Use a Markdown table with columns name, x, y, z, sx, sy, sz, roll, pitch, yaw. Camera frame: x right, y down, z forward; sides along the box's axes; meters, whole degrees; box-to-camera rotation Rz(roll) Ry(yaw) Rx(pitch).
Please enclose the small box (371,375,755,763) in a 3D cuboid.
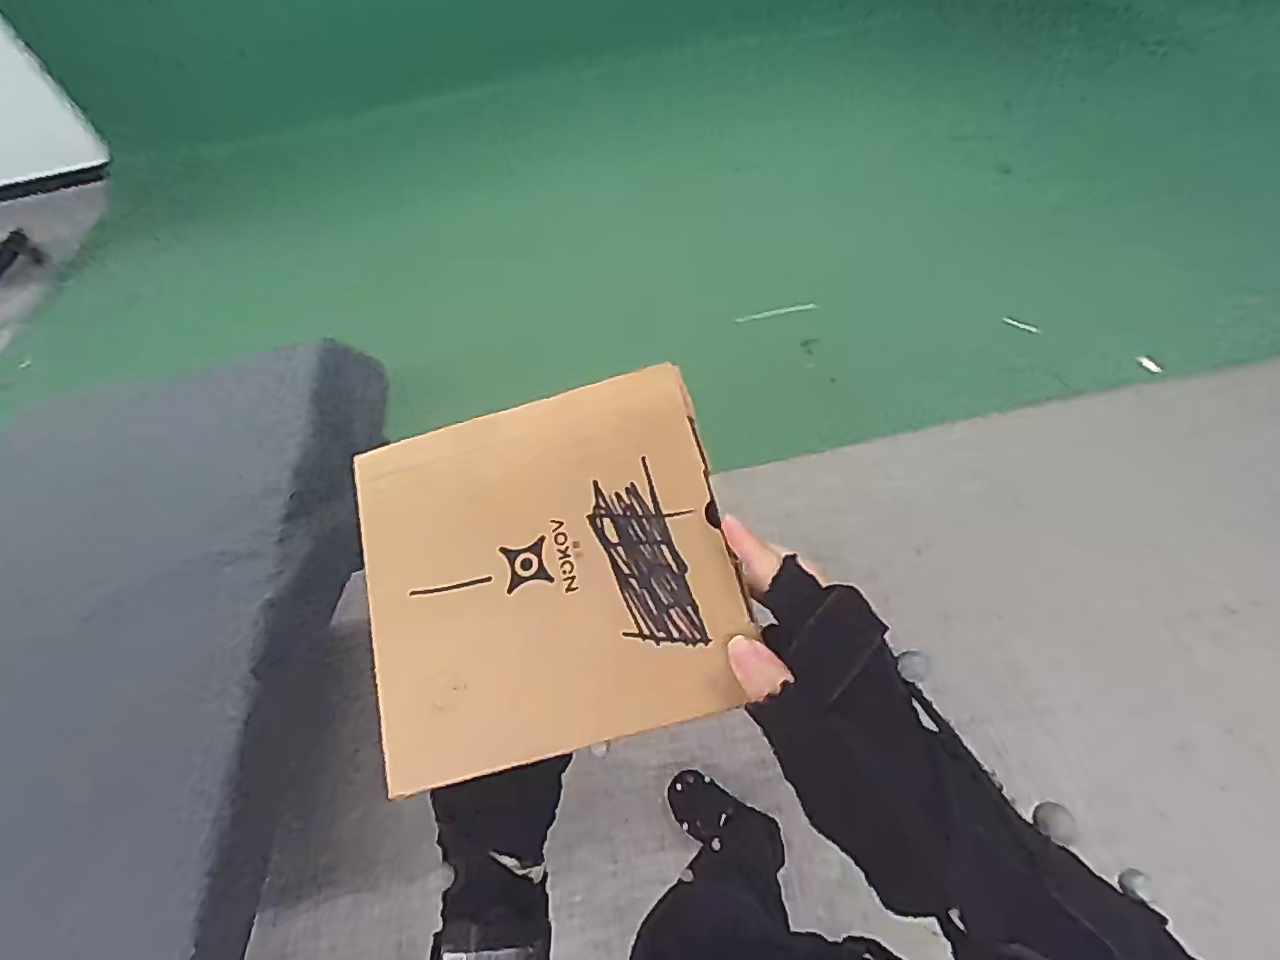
| name | x | y | z | sx | sy | sz | roll | pitch | yaw |
| --- | --- | --- | --- | --- | --- | --- | --- | --- | --- |
| small box | -0.040 | 0.060 | 0.353 | 0.179 | 0.176 | 0.168 | -16 | 72 | 2 |
